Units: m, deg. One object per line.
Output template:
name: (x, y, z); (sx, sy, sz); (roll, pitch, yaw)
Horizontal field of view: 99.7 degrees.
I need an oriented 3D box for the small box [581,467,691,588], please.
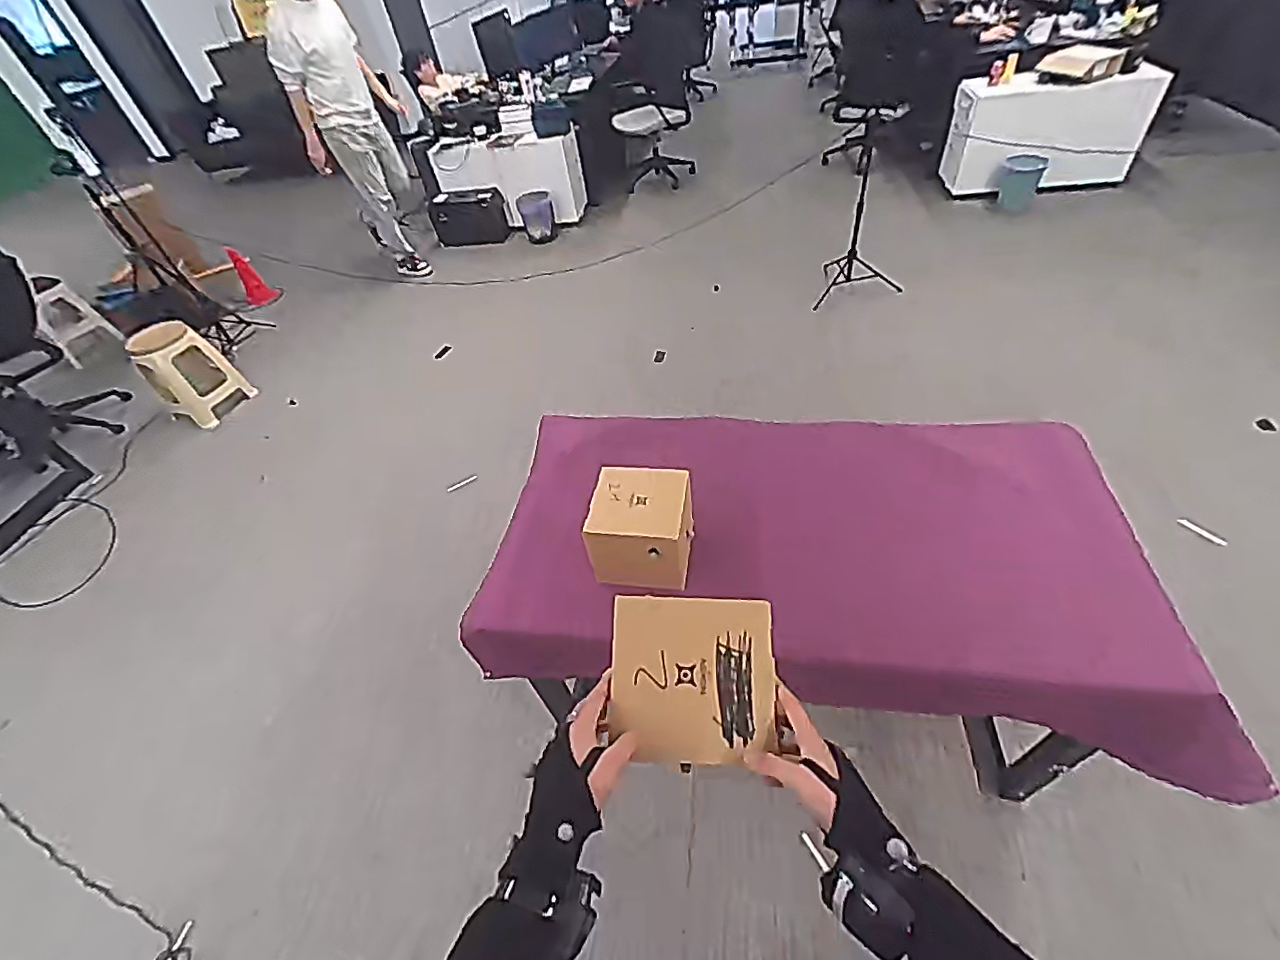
small box: (0.002, 0.094, 1.047); (0.179, 0.176, 0.168); (3, 47, 12)
